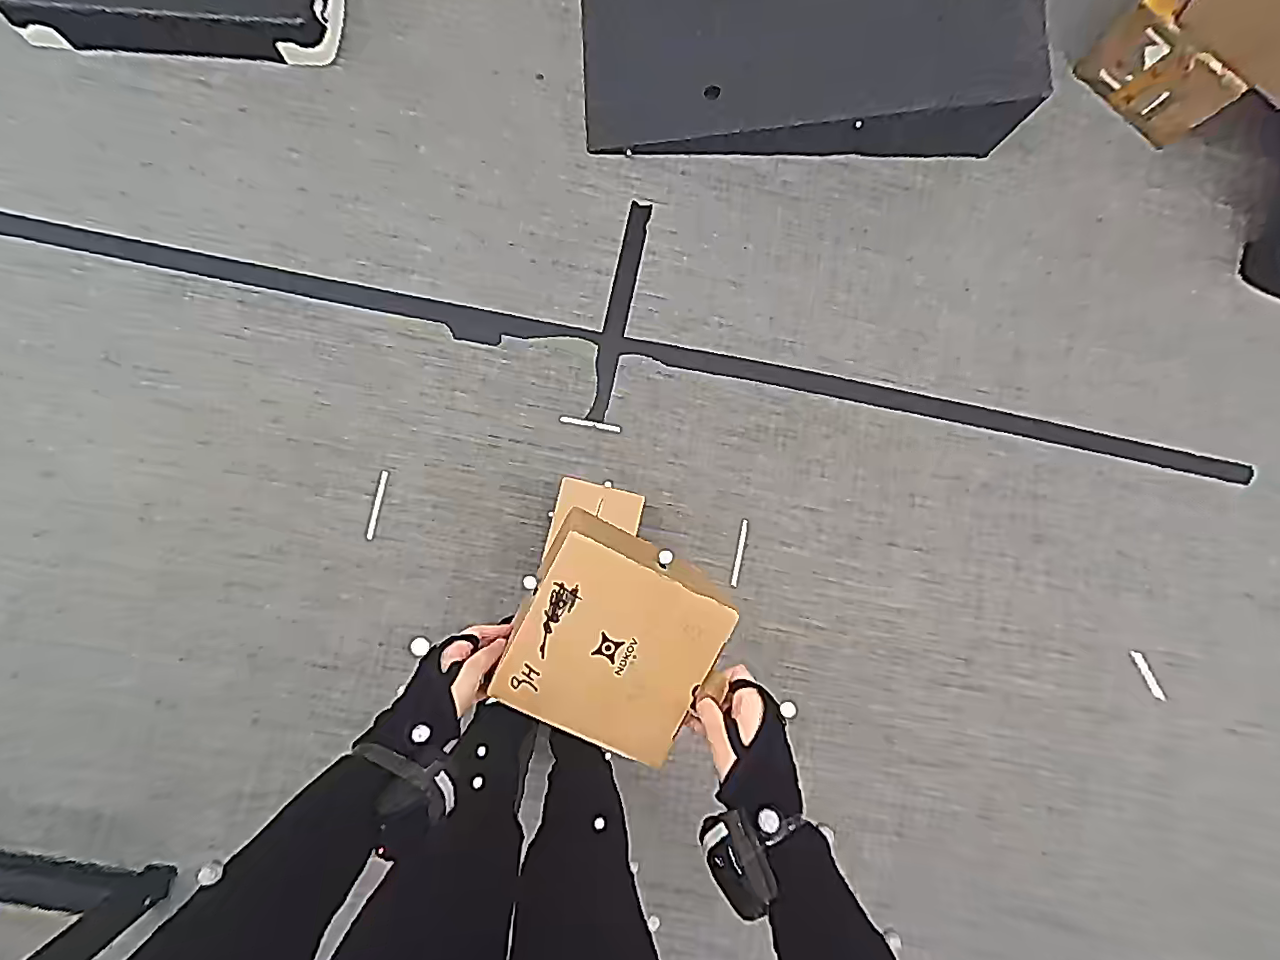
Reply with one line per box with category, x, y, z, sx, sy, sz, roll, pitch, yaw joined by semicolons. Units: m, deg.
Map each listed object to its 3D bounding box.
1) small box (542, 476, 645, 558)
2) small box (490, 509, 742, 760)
small box;-0.093;0.101;1.110;0.168;0.176;0.179;14;84;-4
small box;-0.029;0.142;0.561;0.179;0.176;0.168;28;90;-8
